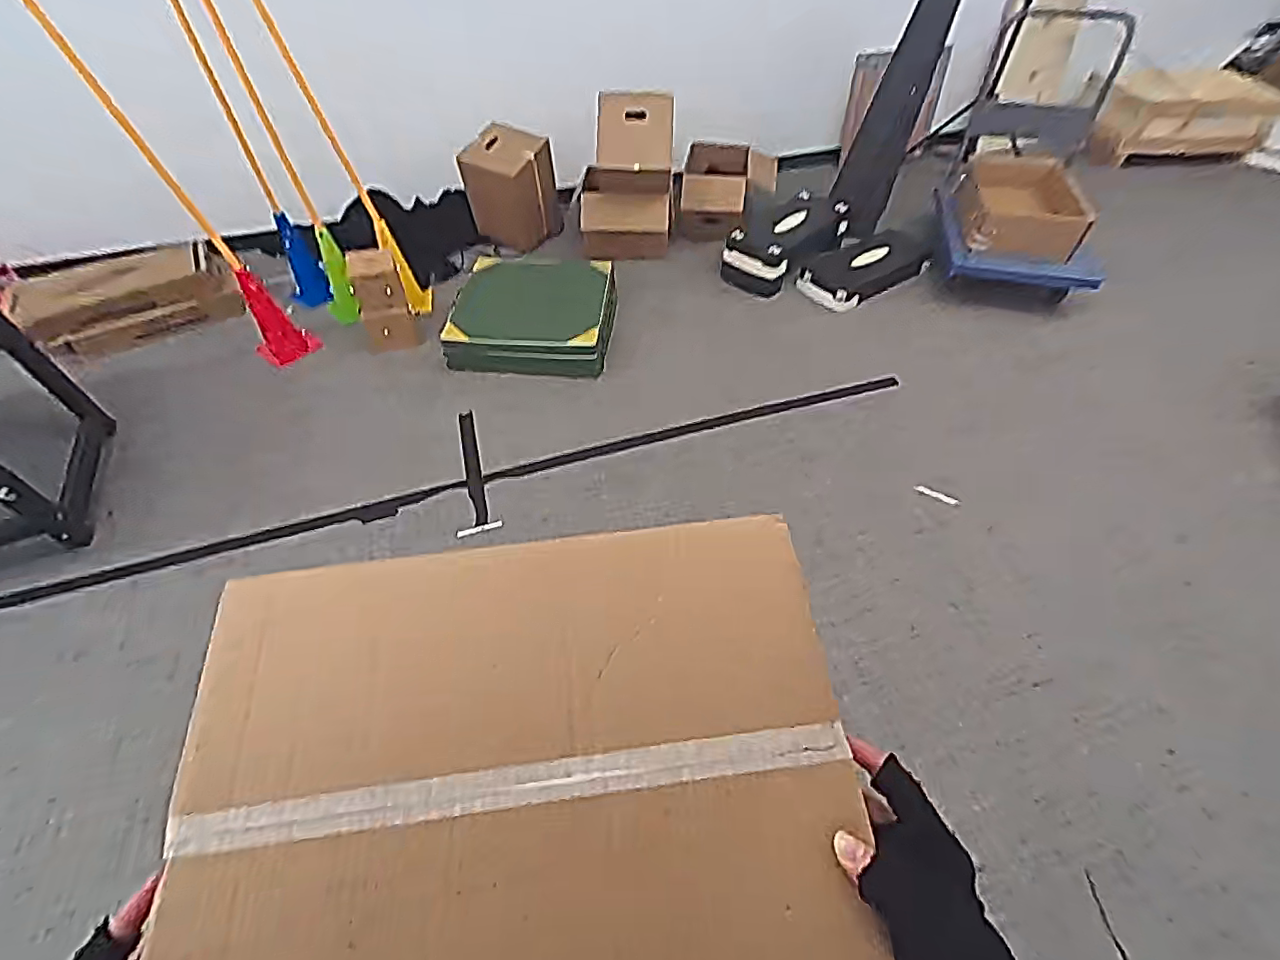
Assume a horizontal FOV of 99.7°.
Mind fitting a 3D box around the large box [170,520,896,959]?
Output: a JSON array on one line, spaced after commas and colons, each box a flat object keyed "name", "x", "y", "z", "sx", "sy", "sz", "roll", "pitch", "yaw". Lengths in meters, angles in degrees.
[{"name": "large box", "x": -0.070, "y": 0.258, "z": 0.469, "sx": 0.408, "sy": 0.320, "sz": 0.320, "roll": -6, "pitch": 63, "yaw": -3}]
